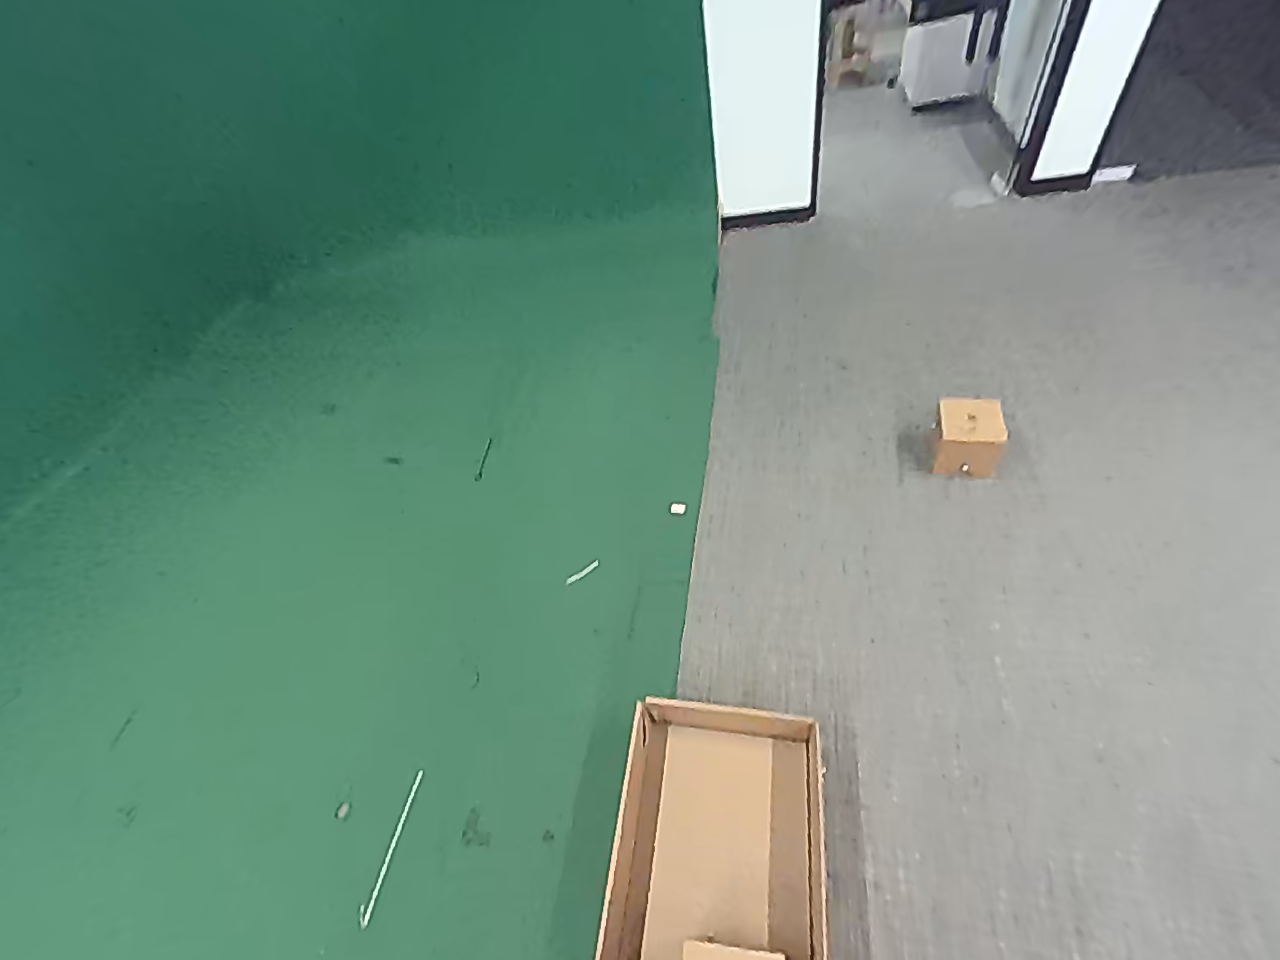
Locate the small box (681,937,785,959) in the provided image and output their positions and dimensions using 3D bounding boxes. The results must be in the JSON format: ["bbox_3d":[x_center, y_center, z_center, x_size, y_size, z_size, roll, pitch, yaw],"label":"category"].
[{"bbox_3d":[0.161,0.908,0.931,0.179,0.176,0.168,0,51,11],"label":"small box"}]

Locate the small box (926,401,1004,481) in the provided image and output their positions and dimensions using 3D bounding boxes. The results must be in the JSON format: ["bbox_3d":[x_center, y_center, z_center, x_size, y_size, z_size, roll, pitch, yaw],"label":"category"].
[{"bbox_3d":[0.988,-0.121,1.659,0.168,0.176,0.179,5,52,18],"label":"small box"}]
